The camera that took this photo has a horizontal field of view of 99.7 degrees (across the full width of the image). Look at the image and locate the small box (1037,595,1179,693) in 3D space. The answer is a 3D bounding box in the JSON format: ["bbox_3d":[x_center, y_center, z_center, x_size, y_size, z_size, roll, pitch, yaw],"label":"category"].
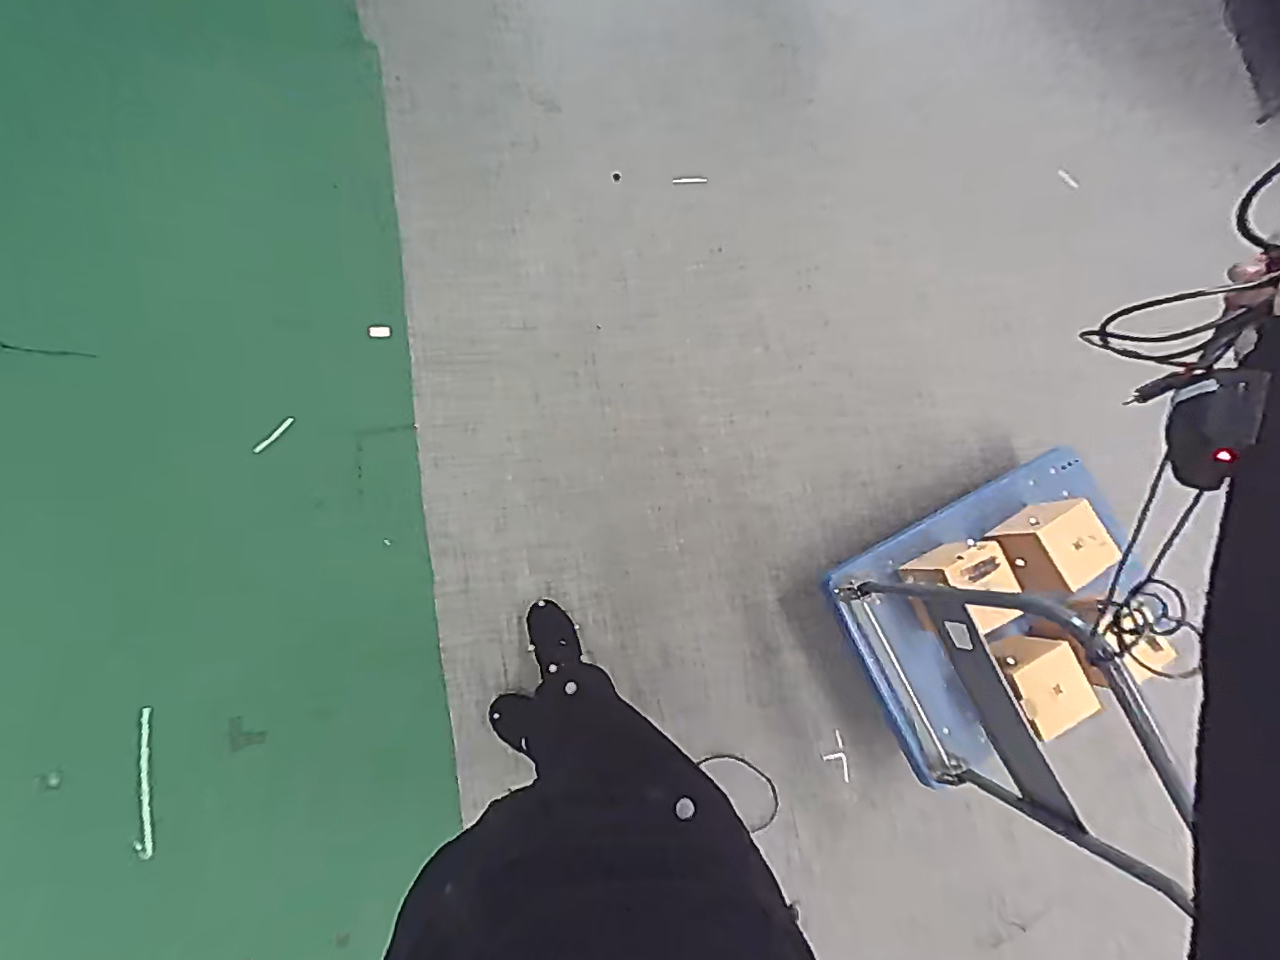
[{"bbox_3d":[1.147,0.395,1.339,0.179,0.176,0.168,-26,84,-11],"label":"small box"}]

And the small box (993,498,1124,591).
[{"bbox_3d":[1.037,0.165,1.362,0.179,0.176,0.168,-28,86,-12],"label":"small box"}]

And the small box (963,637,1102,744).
[{"bbox_3d":[0.927,0.490,1.292,0.179,0.176,0.168,-23,84,-11],"label":"small box"}]
